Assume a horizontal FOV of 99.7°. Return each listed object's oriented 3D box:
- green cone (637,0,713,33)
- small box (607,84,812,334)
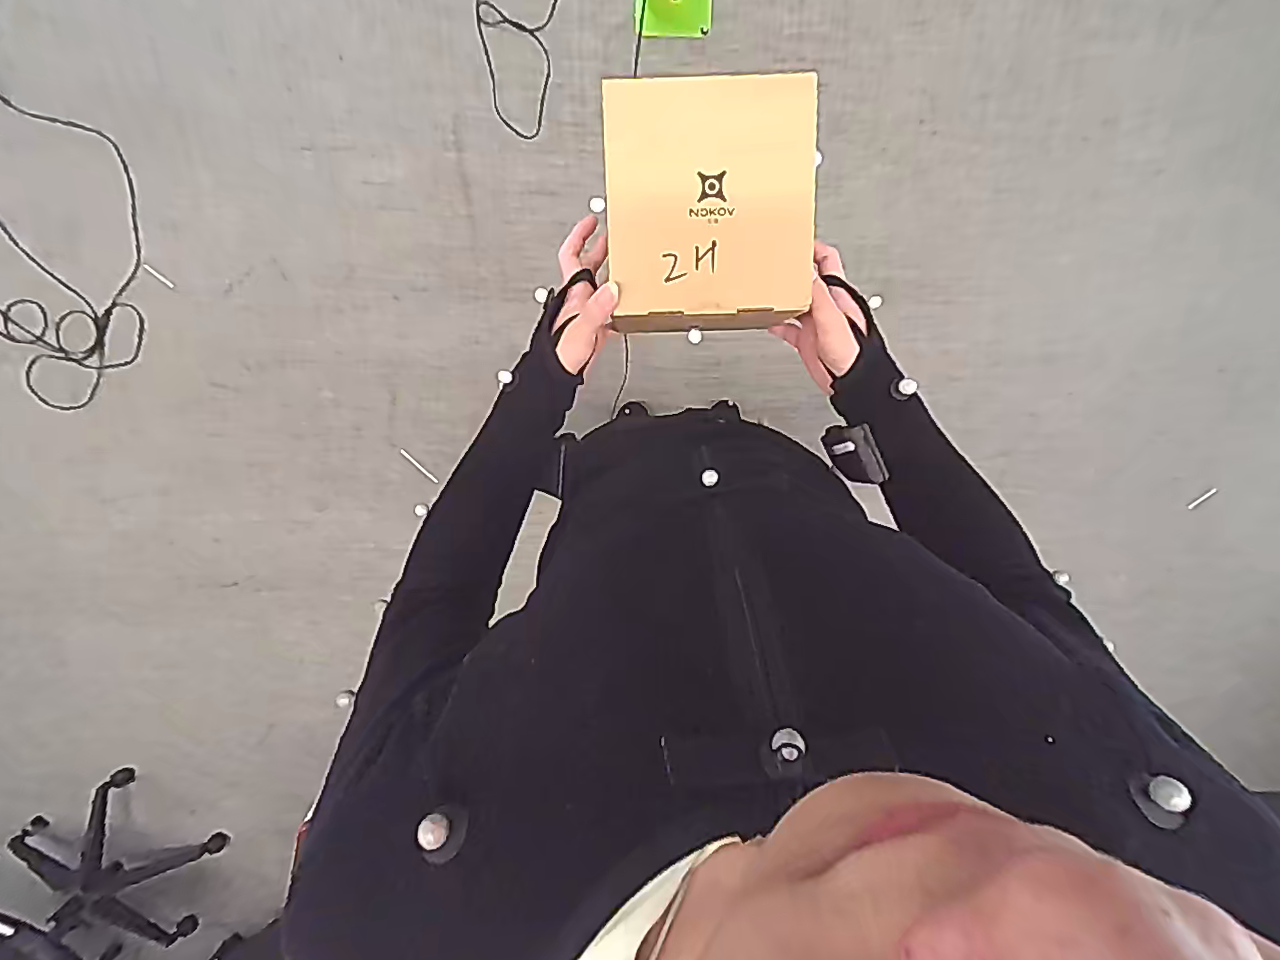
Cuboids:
[{"bbox_3d":[0.093,-1.256,1.243,0.202,0.368,0.200,0,99,0],"label":"green cone"},{"bbox_3d":[0.053,-0.237,0.515,0.168,0.176,0.179,-1,101,0],"label":"small box"}]
